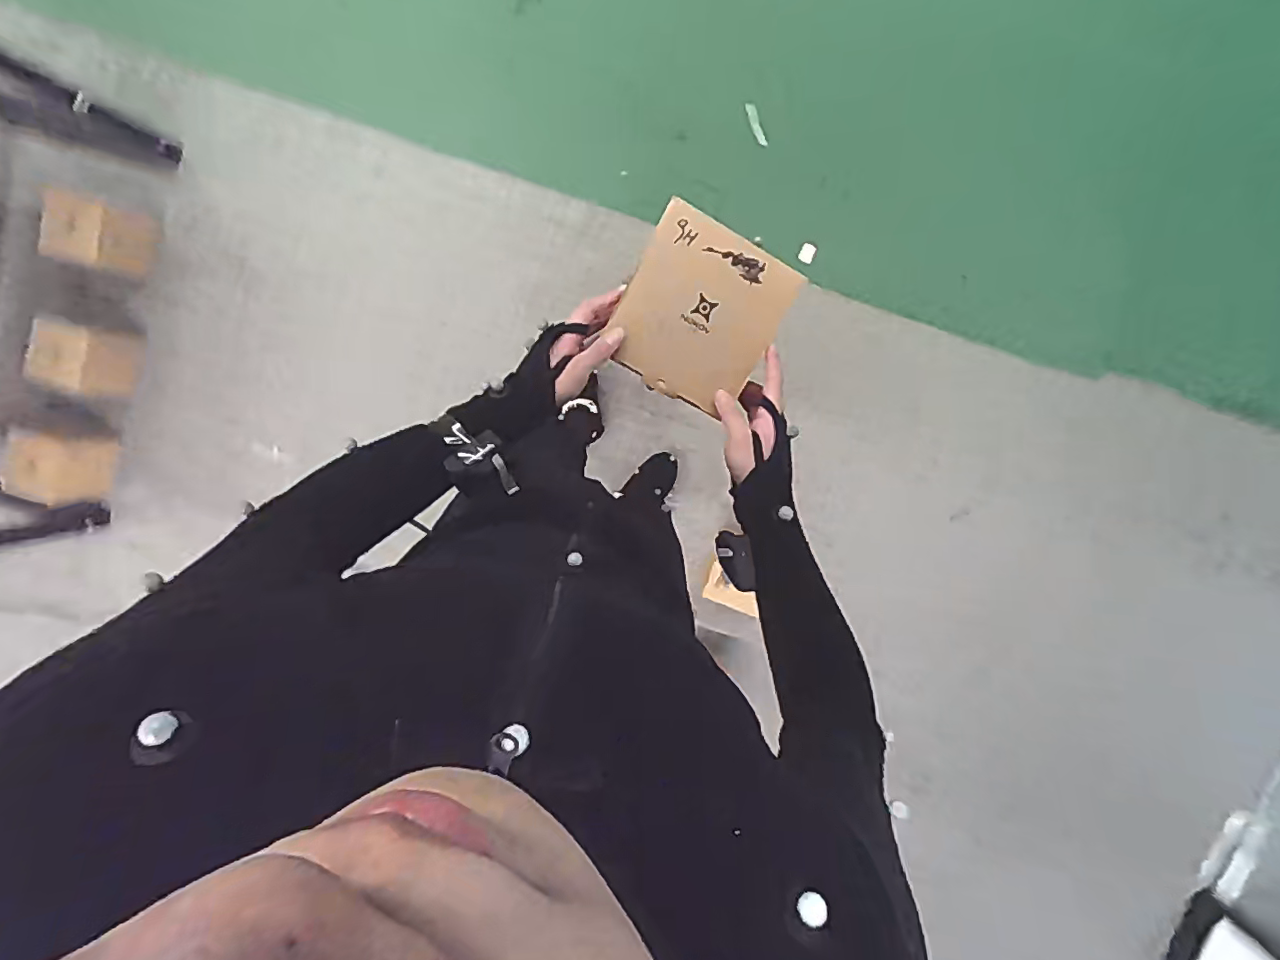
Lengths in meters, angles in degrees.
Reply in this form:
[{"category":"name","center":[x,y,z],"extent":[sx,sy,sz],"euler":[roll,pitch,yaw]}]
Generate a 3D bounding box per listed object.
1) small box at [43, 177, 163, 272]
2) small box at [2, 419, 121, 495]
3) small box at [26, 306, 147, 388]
[{"category":"small box","center":[-1.490,-0.702,1.509],"extent":[0.168,0.176,0.179],"euler":[16,97,0]},{"category":"small box","center":[-1.697,-0.074,1.595],"extent":[0.168,0.176,0.179],"euler":[18,97,0]},{"category":"small box","center":[-1.580,-0.375,1.554],"extent":[0.168,0.176,0.179],"euler":[20,98,1]}]
